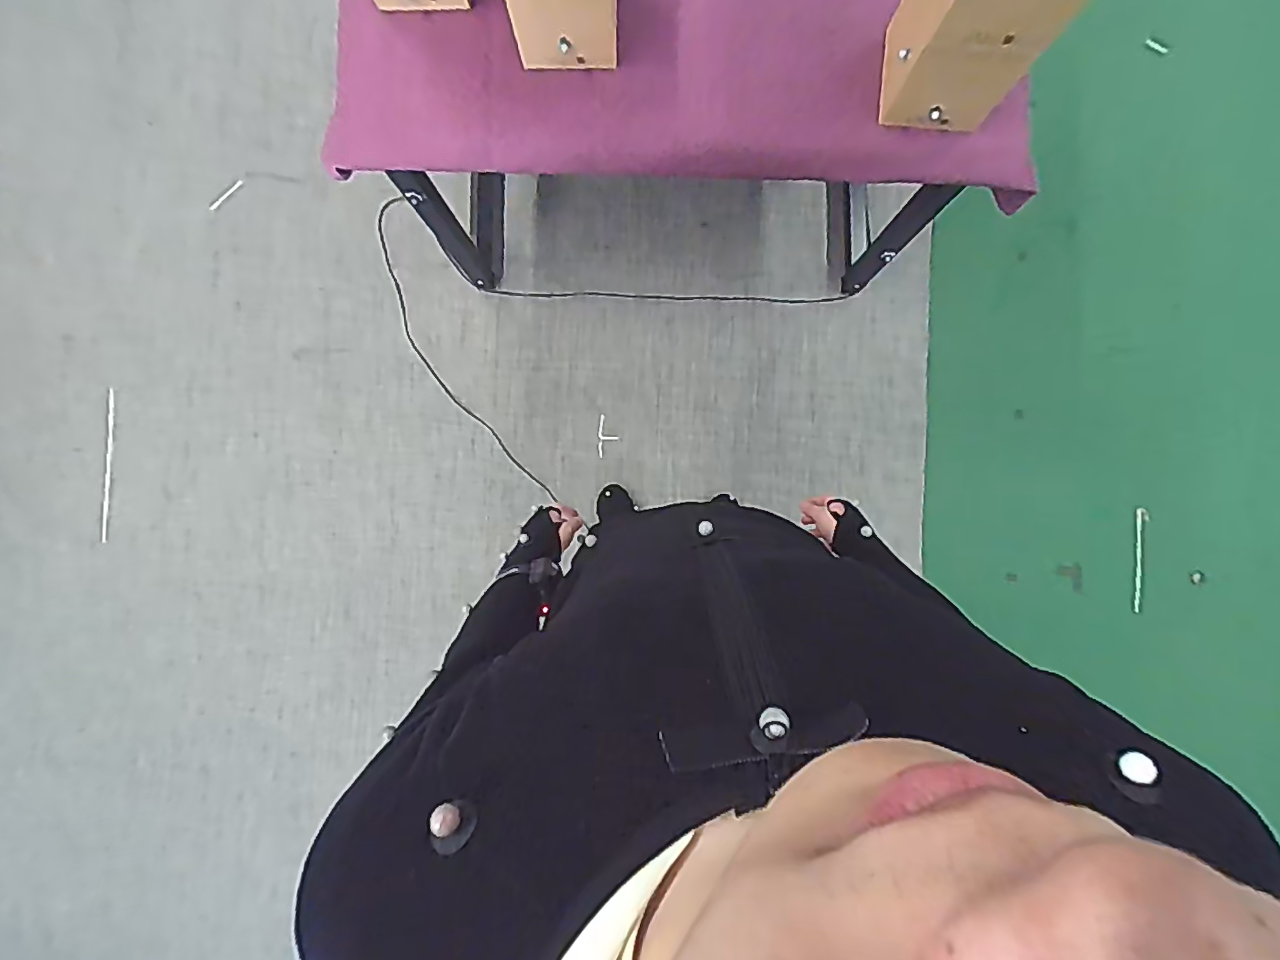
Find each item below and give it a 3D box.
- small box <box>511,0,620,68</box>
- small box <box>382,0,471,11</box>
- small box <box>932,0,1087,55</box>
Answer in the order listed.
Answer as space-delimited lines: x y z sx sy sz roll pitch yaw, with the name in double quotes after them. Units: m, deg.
-0.120 -0.818 0.875 0.168 0.176 0.179 1 88 1 "small box"
-0.380 -0.925 0.882 0.168 0.176 0.179 -1 89 1 "small box"
0.503 -0.706 0.698 0.168 0.176 0.179 6 87 2 "small box"
